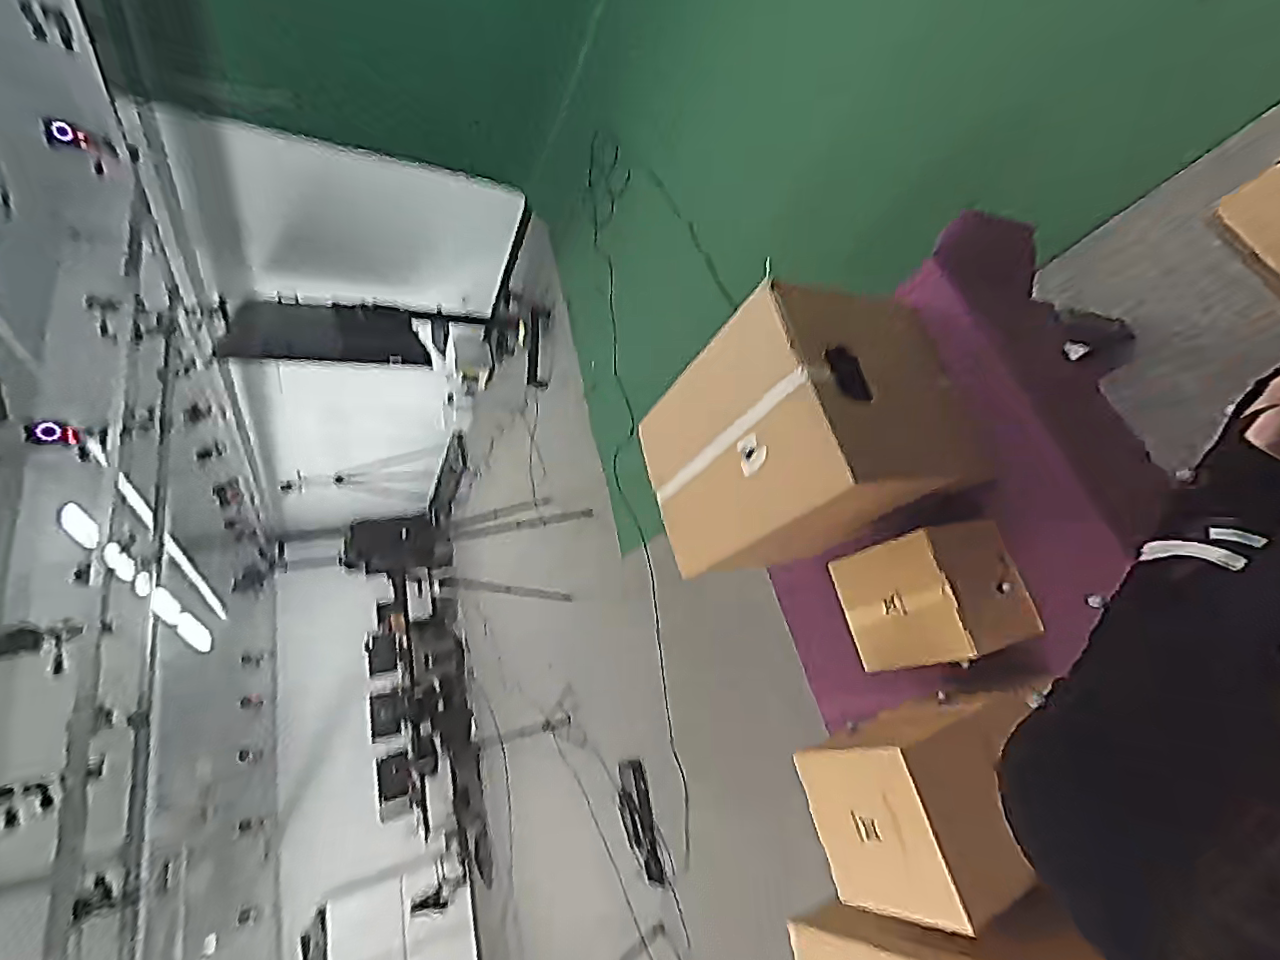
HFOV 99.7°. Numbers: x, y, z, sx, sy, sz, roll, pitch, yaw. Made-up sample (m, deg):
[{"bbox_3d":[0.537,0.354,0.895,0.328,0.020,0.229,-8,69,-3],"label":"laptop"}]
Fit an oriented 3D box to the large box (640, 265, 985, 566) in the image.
[{"bbox_3d":[0.252,-0.075,0.910,0.408,0.320,0.320,-42,57,51],"label":"large box"}]
